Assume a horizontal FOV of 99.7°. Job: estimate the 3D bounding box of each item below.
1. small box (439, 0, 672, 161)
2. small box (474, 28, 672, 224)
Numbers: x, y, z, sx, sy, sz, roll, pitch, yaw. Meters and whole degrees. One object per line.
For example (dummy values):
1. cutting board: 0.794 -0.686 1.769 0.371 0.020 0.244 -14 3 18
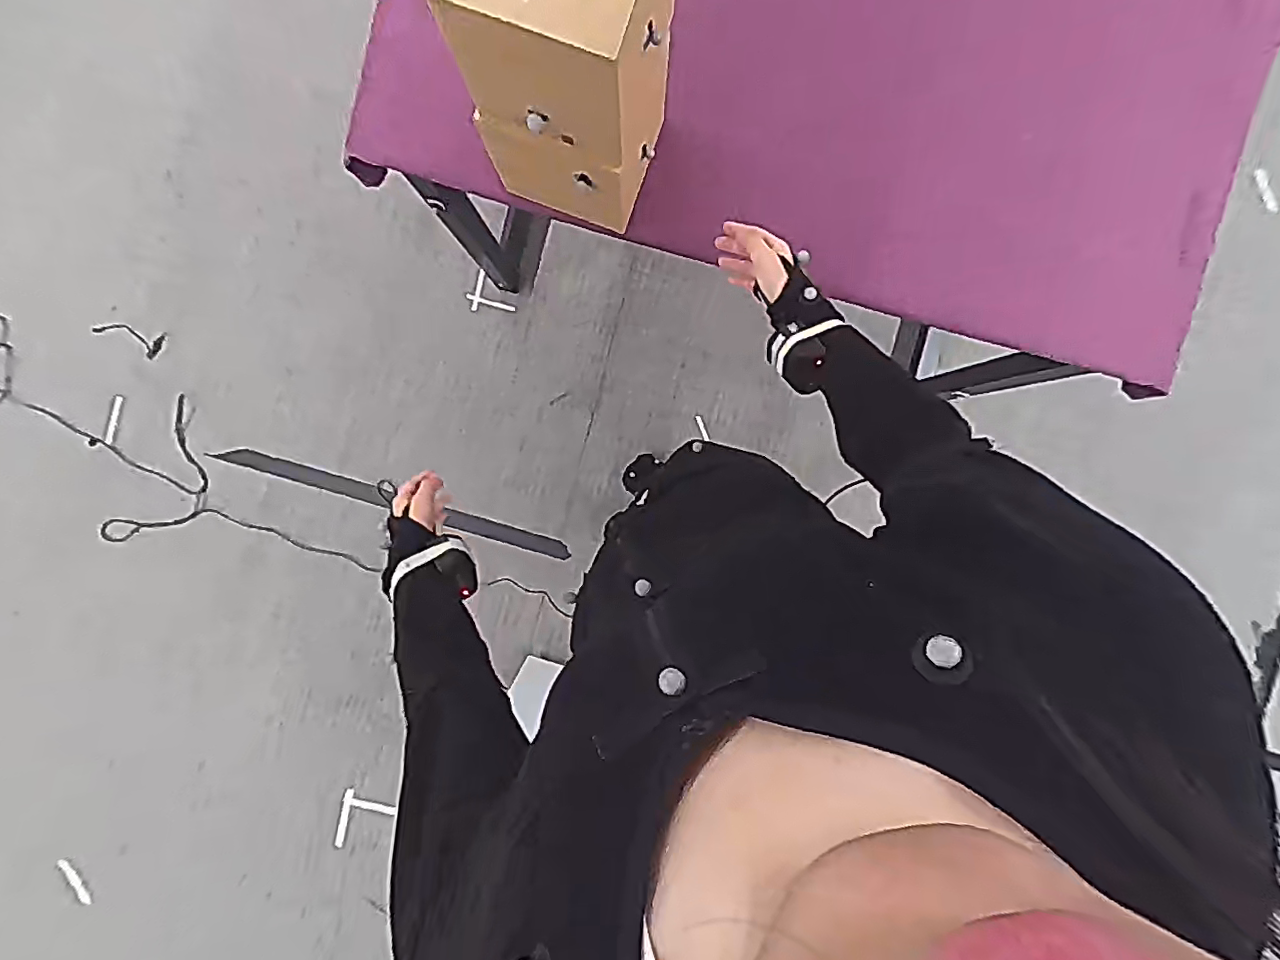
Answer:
1. small box: -0.067 -0.445 0.501 0.168 0.176 0.179 19 93 -1
2. small box: -0.074 -0.445 0.666 0.179 0.176 0.168 20 92 -1
